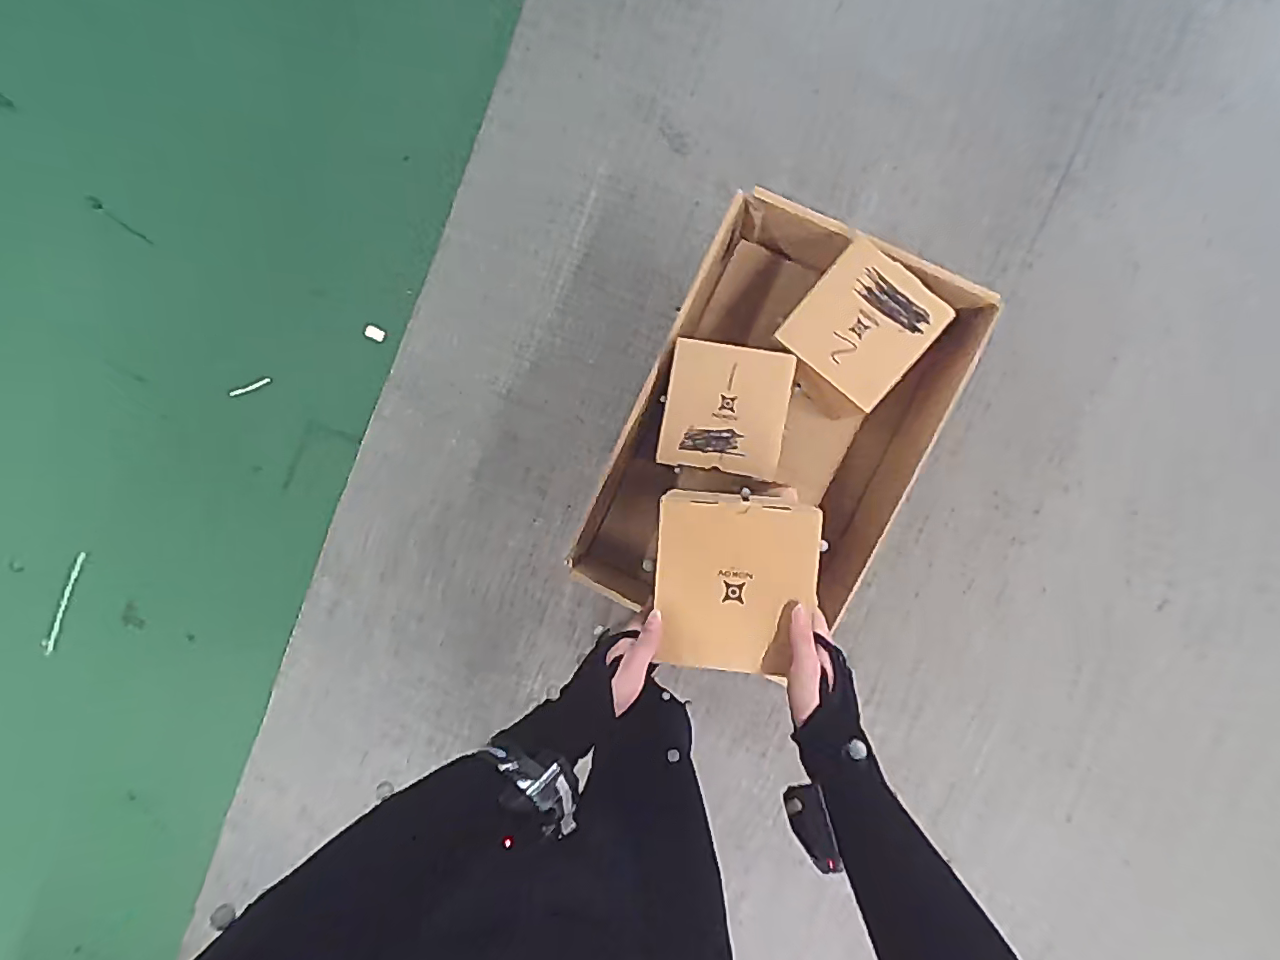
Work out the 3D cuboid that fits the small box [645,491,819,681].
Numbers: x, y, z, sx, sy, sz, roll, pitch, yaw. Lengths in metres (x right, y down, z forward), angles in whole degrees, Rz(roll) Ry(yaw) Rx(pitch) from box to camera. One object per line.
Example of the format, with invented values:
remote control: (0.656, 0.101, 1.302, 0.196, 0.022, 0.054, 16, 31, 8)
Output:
small box: (0.102, 0.107, 0.624, 0.168, 0.176, 0.179, 3, 91, 7)
